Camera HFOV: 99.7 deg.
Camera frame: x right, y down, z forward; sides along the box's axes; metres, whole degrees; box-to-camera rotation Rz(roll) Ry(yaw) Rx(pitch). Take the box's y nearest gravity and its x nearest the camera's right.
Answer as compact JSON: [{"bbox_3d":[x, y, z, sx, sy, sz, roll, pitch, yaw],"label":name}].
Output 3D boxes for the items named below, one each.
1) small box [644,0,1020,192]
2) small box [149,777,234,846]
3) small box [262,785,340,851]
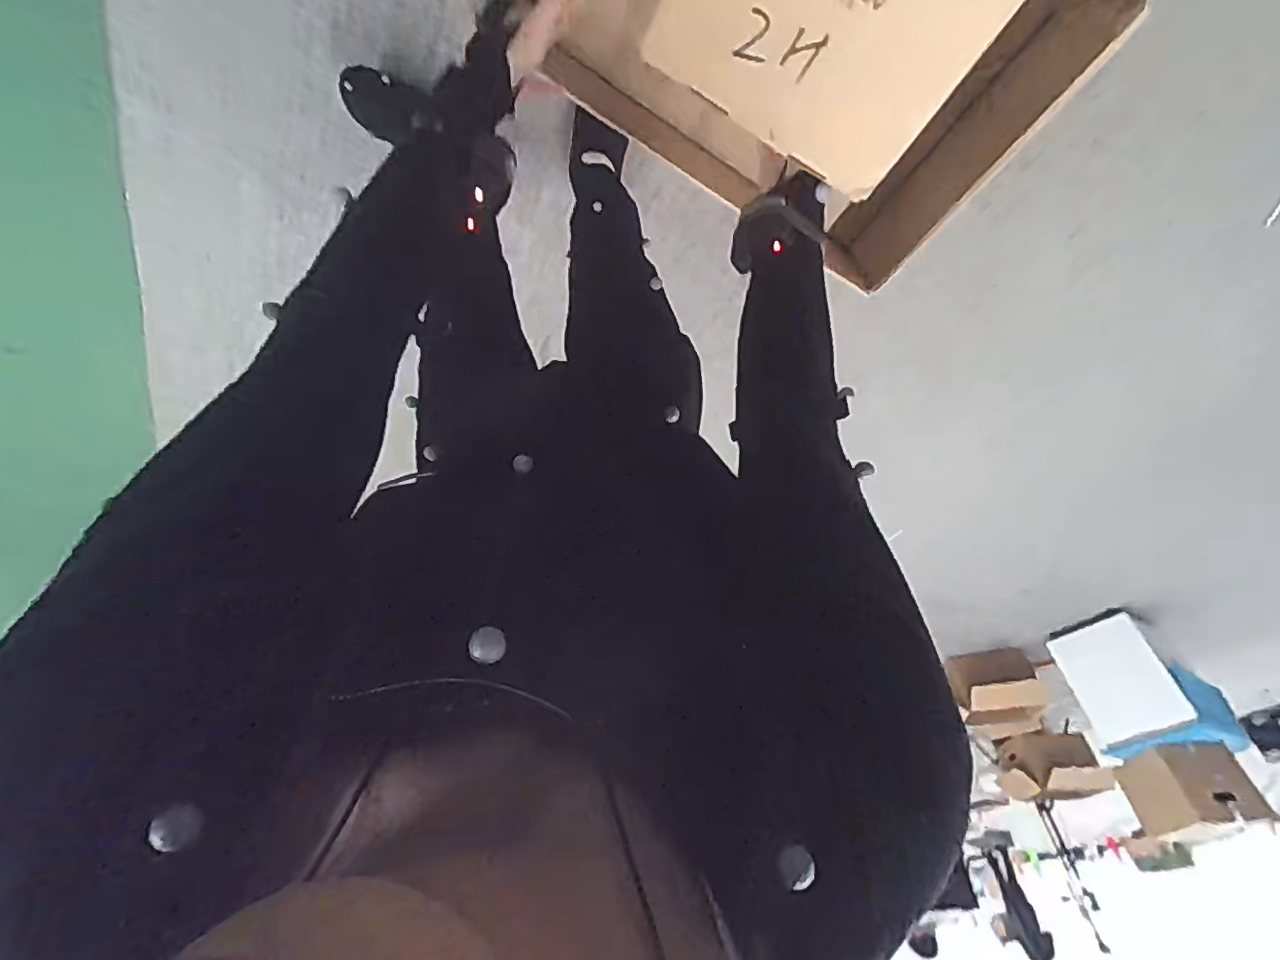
[{"bbox_3d":[0.108,-0.316,0.308,0.168,0.176,0.179,19,134,-23],"label":"small box"},{"bbox_3d":[-1.478,1.098,1.790,0.168,0.176,0.179,19,134,-23],"label":"small box"},{"bbox_3d":[-1.201,1.204,1.926,0.168,0.176,0.179,30,128,-30],"label":"small box"}]
